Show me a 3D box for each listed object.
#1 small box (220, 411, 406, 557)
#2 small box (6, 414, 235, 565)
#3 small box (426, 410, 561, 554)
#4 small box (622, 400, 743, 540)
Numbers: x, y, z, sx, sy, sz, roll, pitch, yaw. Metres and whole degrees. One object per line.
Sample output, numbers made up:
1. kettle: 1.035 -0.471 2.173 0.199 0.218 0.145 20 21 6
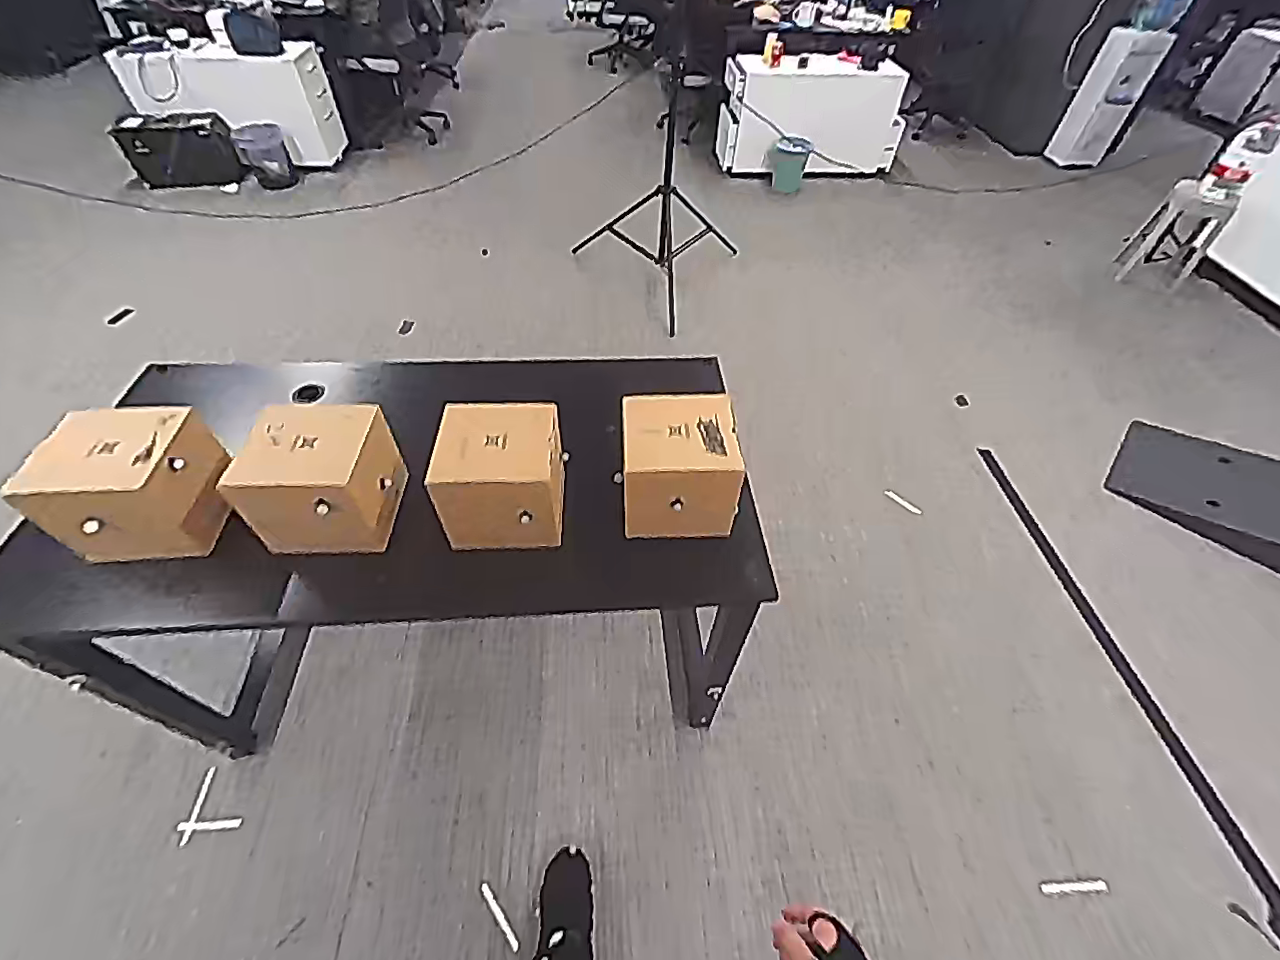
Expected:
1. small box: -0.492 0.009 0.850 0.179 0.176 0.168 -1 49 -3
2. small box: -0.764 0.018 0.832 0.179 0.176 0.168 -4 50 -5
3. small box: -0.219 0.005 0.865 0.179 0.176 0.168 -2 48 -4
4. small box: 0.059 -0.014 0.889 0.179 0.176 0.168 -2 49 -1
